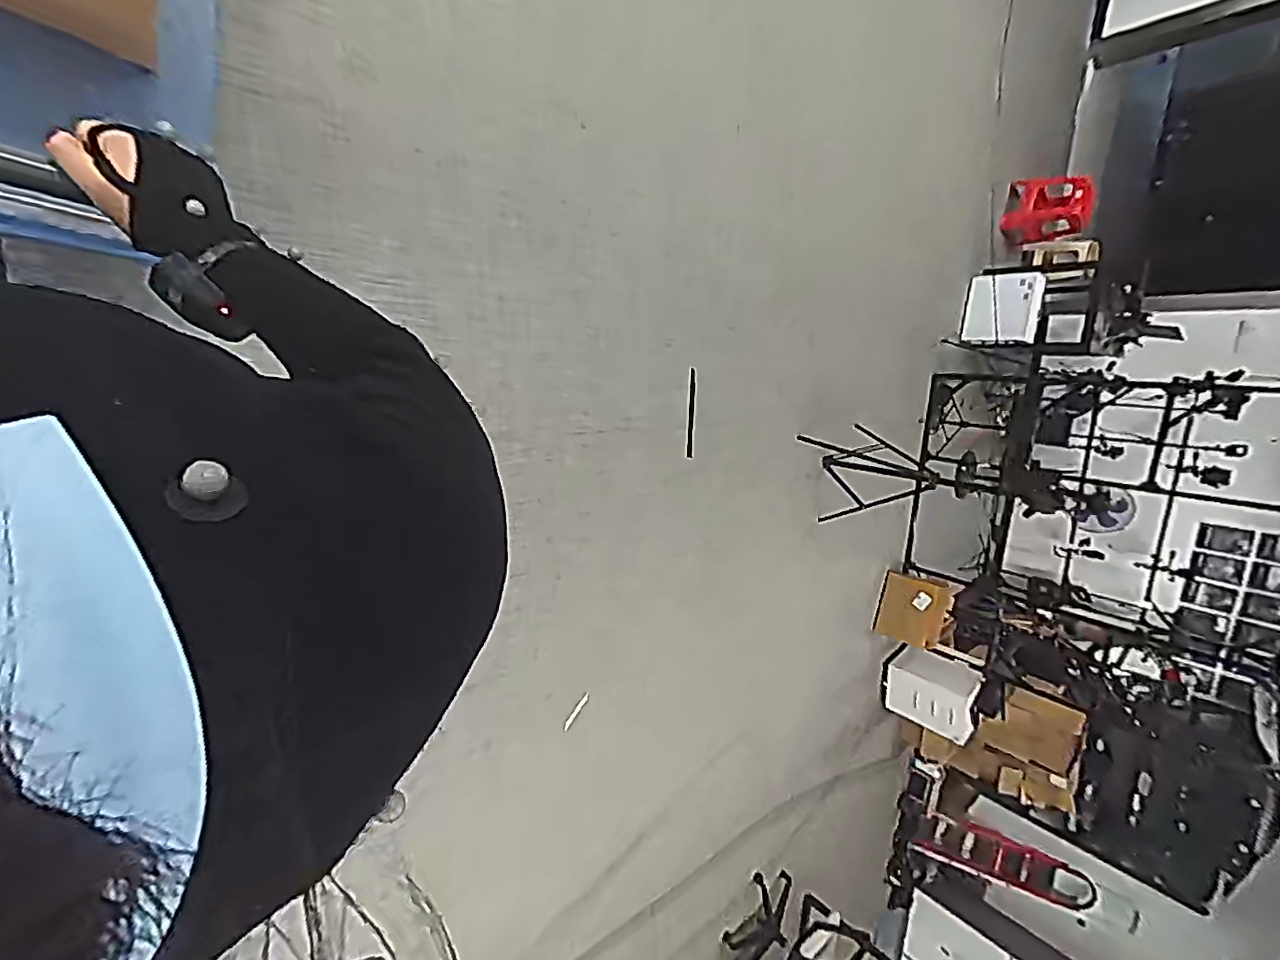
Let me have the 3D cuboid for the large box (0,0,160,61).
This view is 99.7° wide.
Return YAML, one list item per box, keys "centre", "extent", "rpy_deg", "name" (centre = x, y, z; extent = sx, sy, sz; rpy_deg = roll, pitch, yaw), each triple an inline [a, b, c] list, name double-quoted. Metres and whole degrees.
- centre: [-0.855, -0.825, 0.660]
  extent: [0.408, 0.320, 0.320]
  rpy_deg: [2, 99, -42]
  name: "large box"
